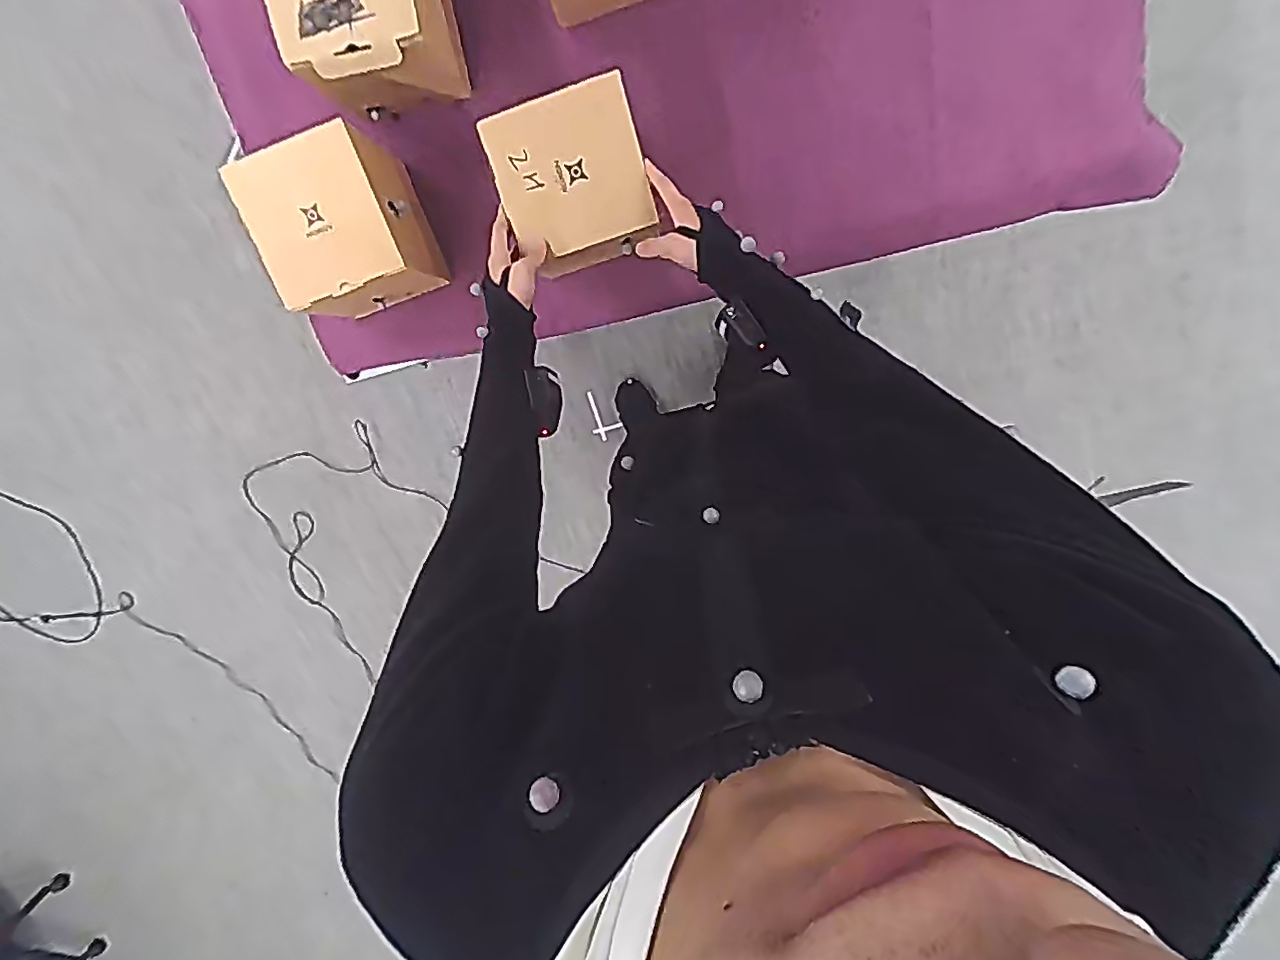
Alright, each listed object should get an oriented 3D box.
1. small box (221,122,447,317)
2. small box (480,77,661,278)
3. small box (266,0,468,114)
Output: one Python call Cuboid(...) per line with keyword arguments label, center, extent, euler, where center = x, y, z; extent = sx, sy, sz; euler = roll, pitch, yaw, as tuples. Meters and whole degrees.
Cuboid(label="small box", center=(-0.389, -0.330, 0.725), extent=(0.168, 0.176, 0.179), euler=(-19, 105, 5))
Cuboid(label="small box", center=(-0.077, -0.373, 0.703), extent=(0.179, 0.176, 0.168), euler=(-15, 105, 7))
Cuboid(label="small box", center=(-0.329, -0.575, 0.656), extent=(0.168, 0.176, 0.179), euler=(-9, 105, 4))
